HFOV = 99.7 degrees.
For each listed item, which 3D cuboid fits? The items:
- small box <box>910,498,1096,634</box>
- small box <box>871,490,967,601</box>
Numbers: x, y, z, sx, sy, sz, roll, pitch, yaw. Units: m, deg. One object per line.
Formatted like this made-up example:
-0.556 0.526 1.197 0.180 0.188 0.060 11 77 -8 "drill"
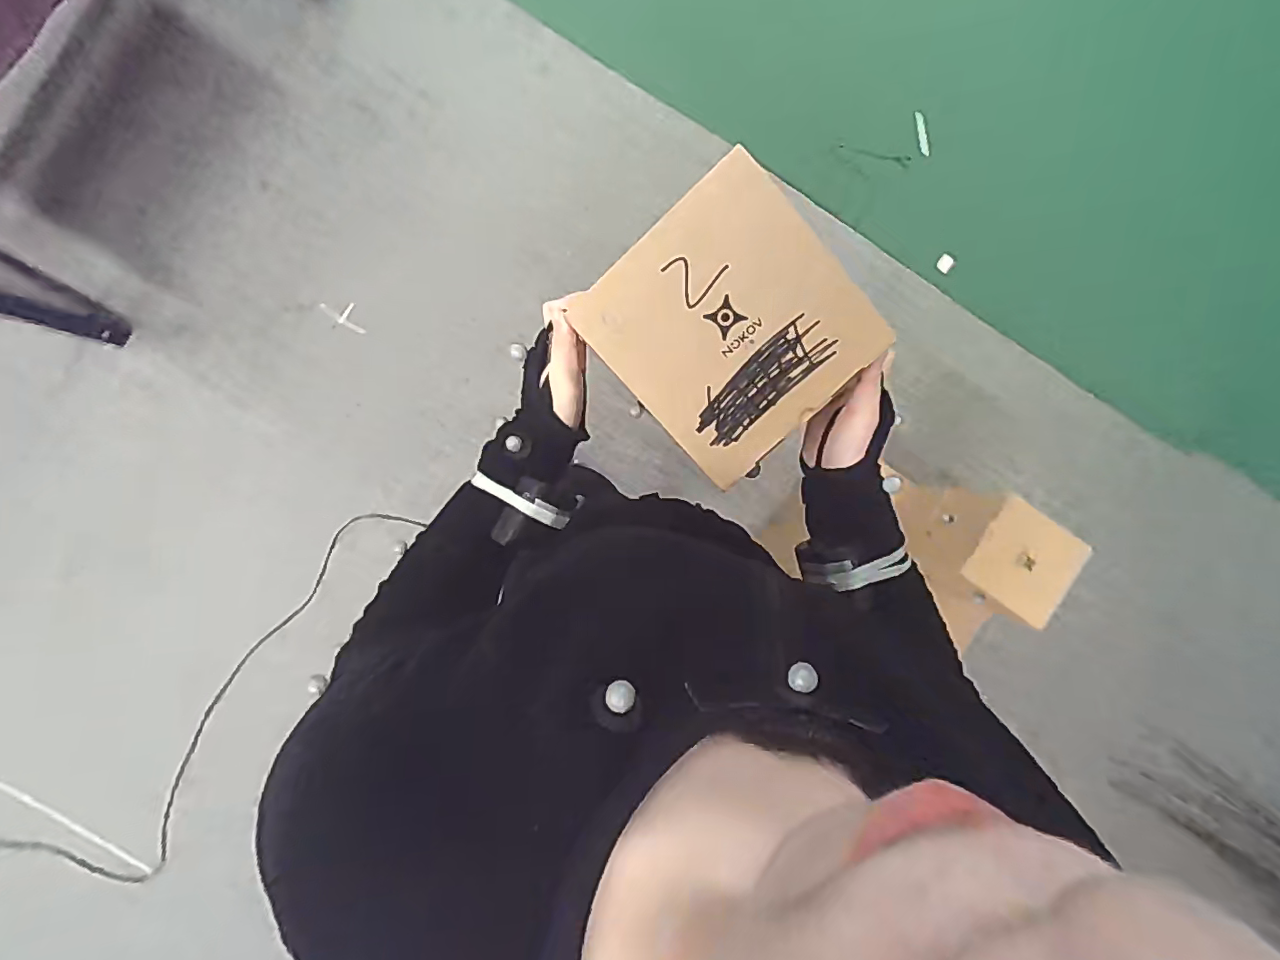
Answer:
0.636 0.141 0.970 0.179 0.176 0.168 37 88 -1 "small box"
0.627 0.136 1.133 0.179 0.176 0.168 37 88 -3 "small box"
